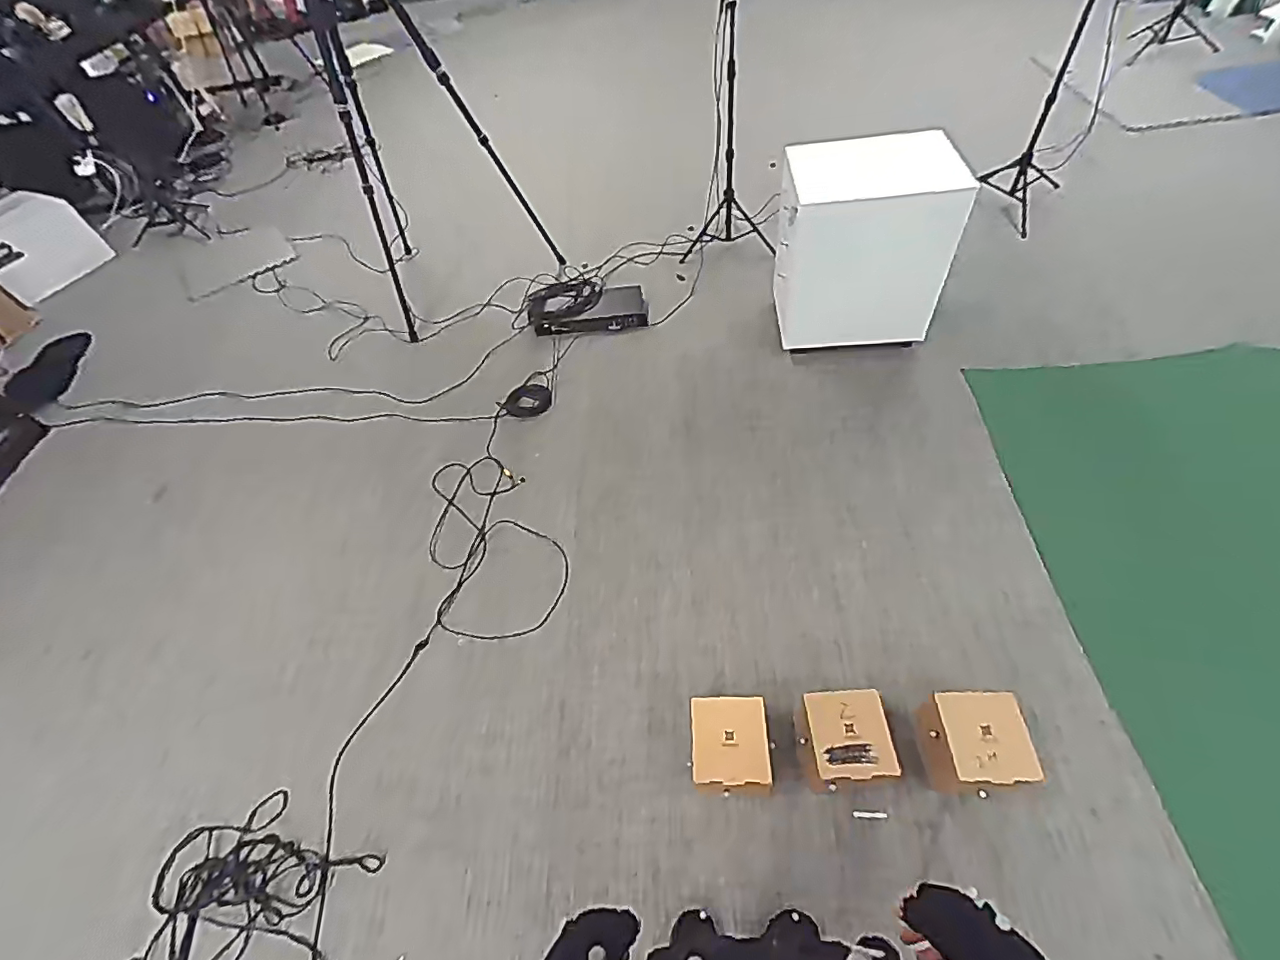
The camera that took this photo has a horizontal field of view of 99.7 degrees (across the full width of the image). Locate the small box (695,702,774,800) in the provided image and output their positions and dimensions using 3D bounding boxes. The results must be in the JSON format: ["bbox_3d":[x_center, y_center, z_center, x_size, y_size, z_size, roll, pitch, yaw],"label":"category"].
[{"bbox_3d":[0.212,0.630,1.253,0.168,0.176,0.179,-4,53,7],"label":"small box"}]

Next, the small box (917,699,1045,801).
[{"bbox_3d":[0.738,0.598,1.197,0.168,0.176,0.179,-3,53,7],"label":"small box"}]
